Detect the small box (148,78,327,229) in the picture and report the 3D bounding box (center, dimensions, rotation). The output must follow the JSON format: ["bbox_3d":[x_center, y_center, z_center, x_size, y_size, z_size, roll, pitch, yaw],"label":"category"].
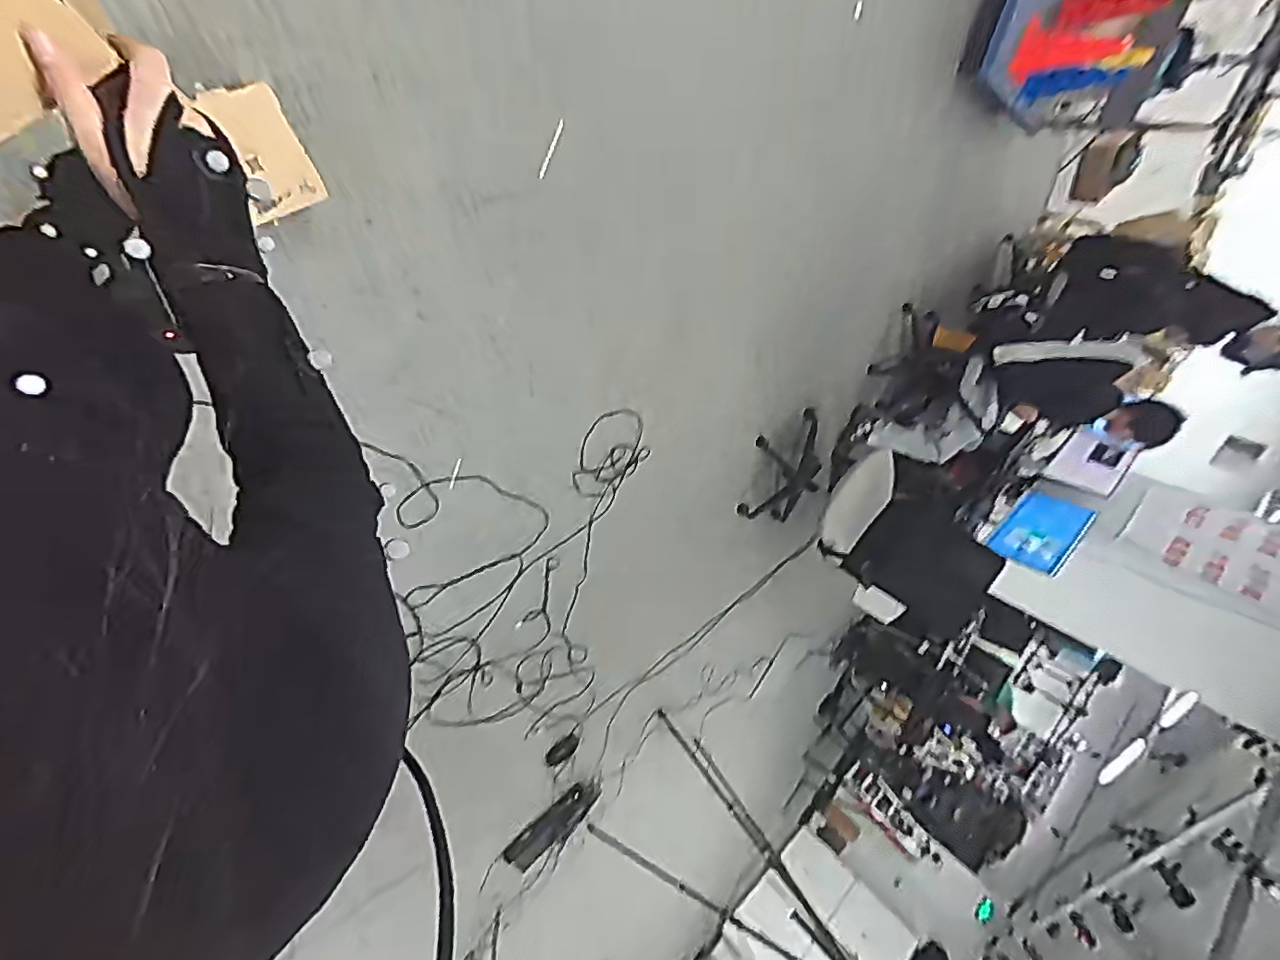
[{"bbox_3d":[-0.680,-0.550,0.915,0.168,0.176,0.179,-38,137,-23],"label":"small box"}]

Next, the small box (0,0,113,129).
[{"bbox_3d":[-0.452,-0.289,0.290,0.179,0.176,0.168,-40,148,-6],"label":"small box"}]
